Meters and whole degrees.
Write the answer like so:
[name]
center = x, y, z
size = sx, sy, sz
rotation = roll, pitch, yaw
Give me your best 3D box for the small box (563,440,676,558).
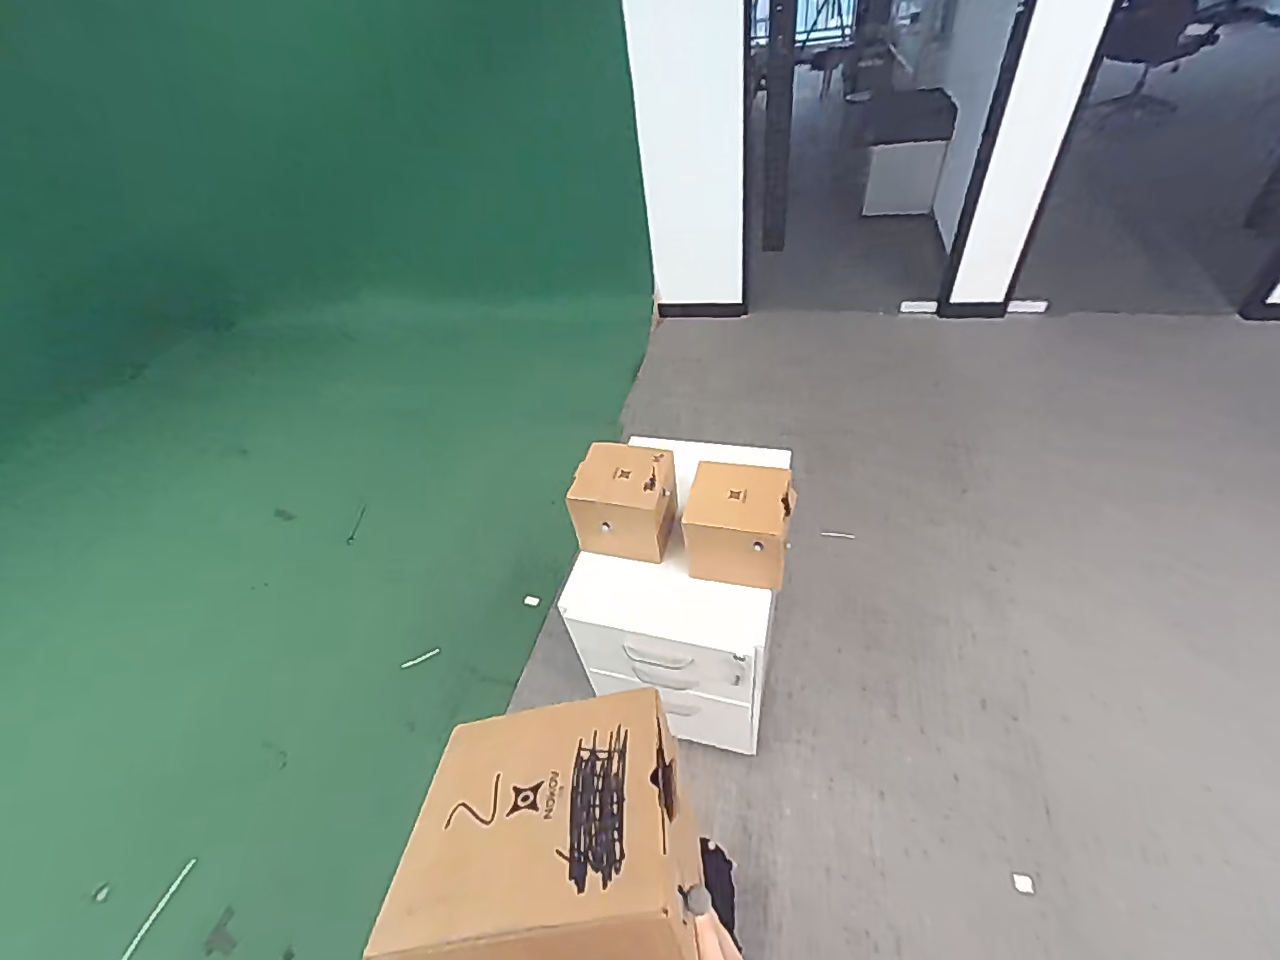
[small box]
center = -0.032, 0.040, 1.099
size = 0.179, 0.176, 0.168
rotation = 7, 48, 16
